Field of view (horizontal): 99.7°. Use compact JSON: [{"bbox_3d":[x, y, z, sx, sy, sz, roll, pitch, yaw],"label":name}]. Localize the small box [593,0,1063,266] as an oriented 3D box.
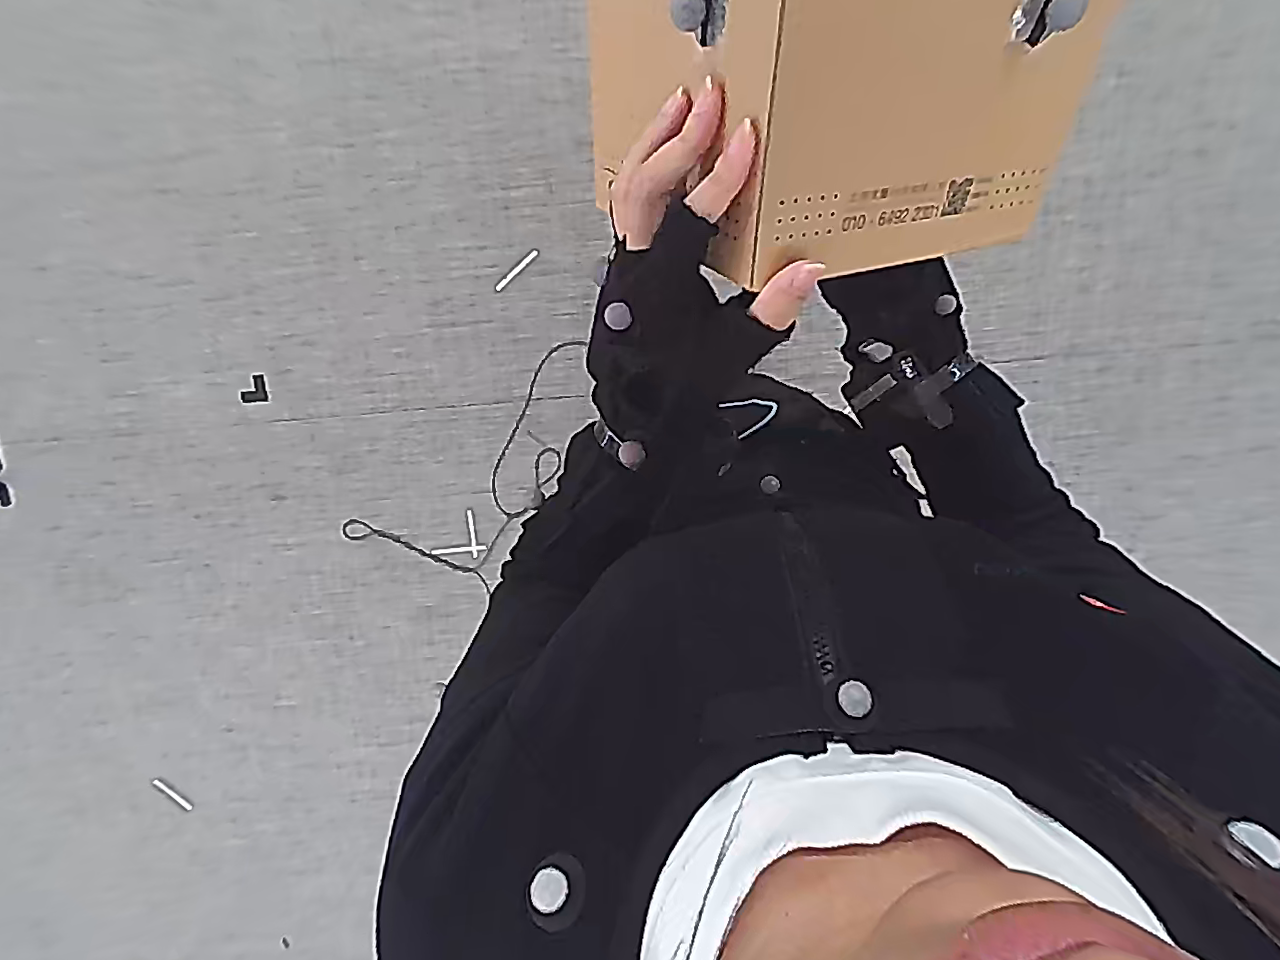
[{"bbox_3d":[0.084,-0.218,0.278,0.168,0.179,0.176,-16,130,-20],"label":"small box"}]
